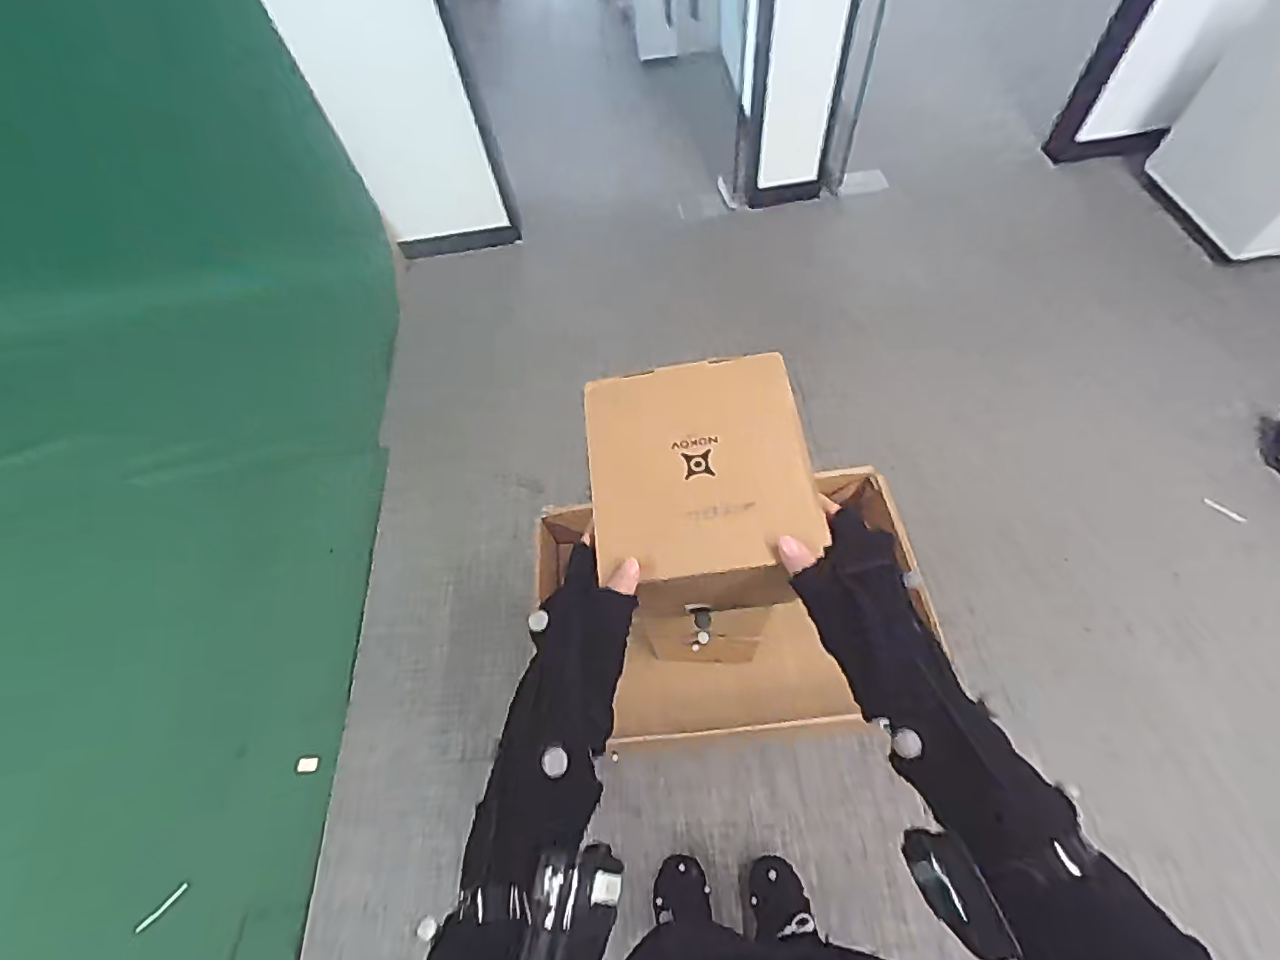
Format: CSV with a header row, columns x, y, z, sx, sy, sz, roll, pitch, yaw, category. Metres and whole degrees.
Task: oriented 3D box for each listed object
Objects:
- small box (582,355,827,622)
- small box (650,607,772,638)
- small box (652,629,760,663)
x,y,z,sx,sy,sz,roll,pitch,yaw,category
0.048,0.018,0.480,0.168,0.176,0.179,-8,67,4,small box
0.090,0.119,0.779,0.168,0.176,0.179,-2,61,4,small box
0.110,0.200,0.920,0.168,0.176,0.179,-1,59,6,small box
